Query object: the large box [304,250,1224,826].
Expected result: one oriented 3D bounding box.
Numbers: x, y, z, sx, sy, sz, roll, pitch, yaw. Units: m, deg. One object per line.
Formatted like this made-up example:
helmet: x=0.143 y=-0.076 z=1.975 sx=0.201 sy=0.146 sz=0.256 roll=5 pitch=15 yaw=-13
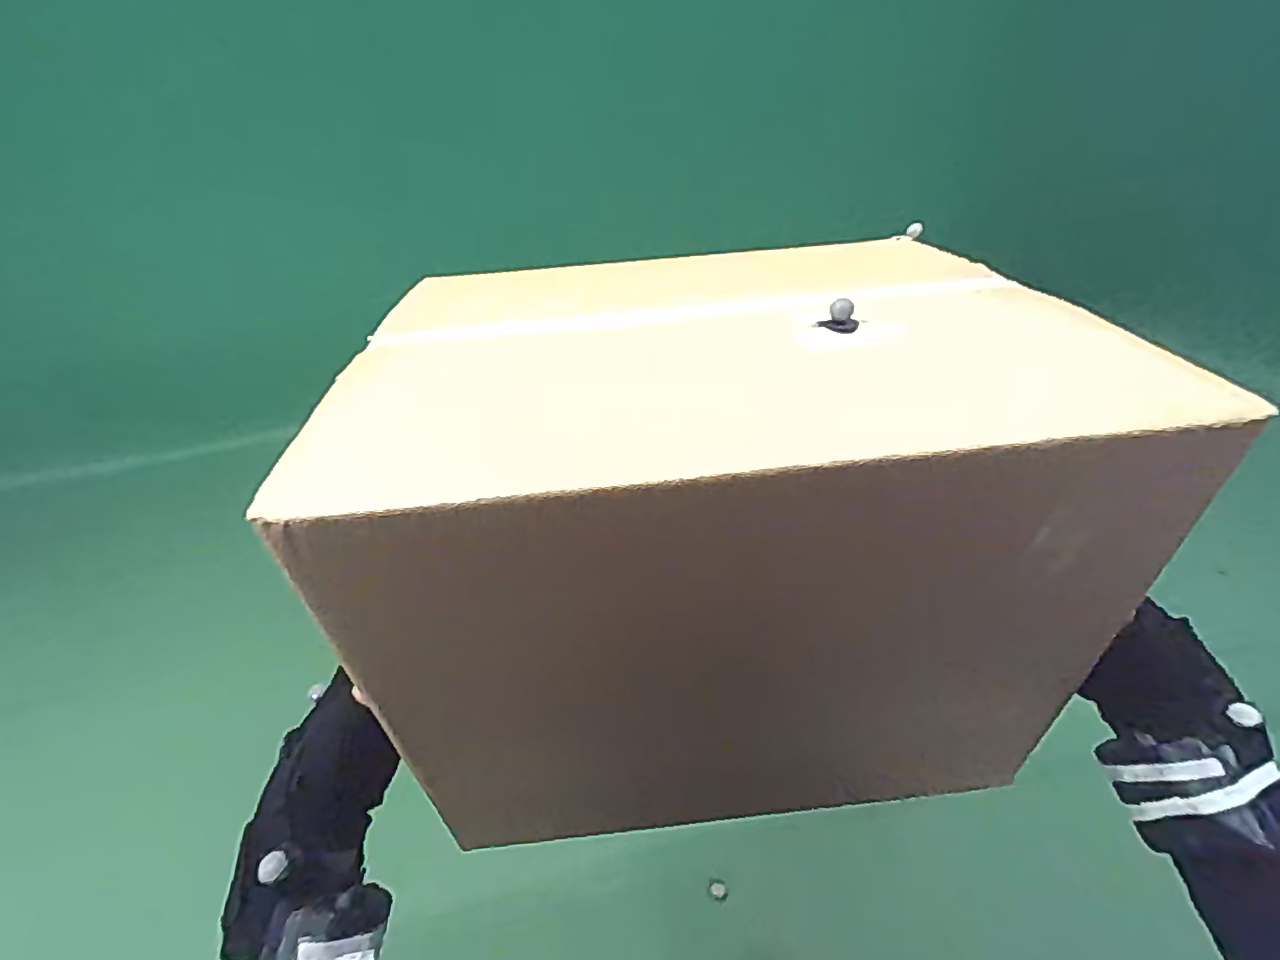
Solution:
large box: x=0.052 y=0.025 z=0.431 sx=0.408 sy=0.320 sz=0.320 roll=-5 pitch=37 yaw=-2
